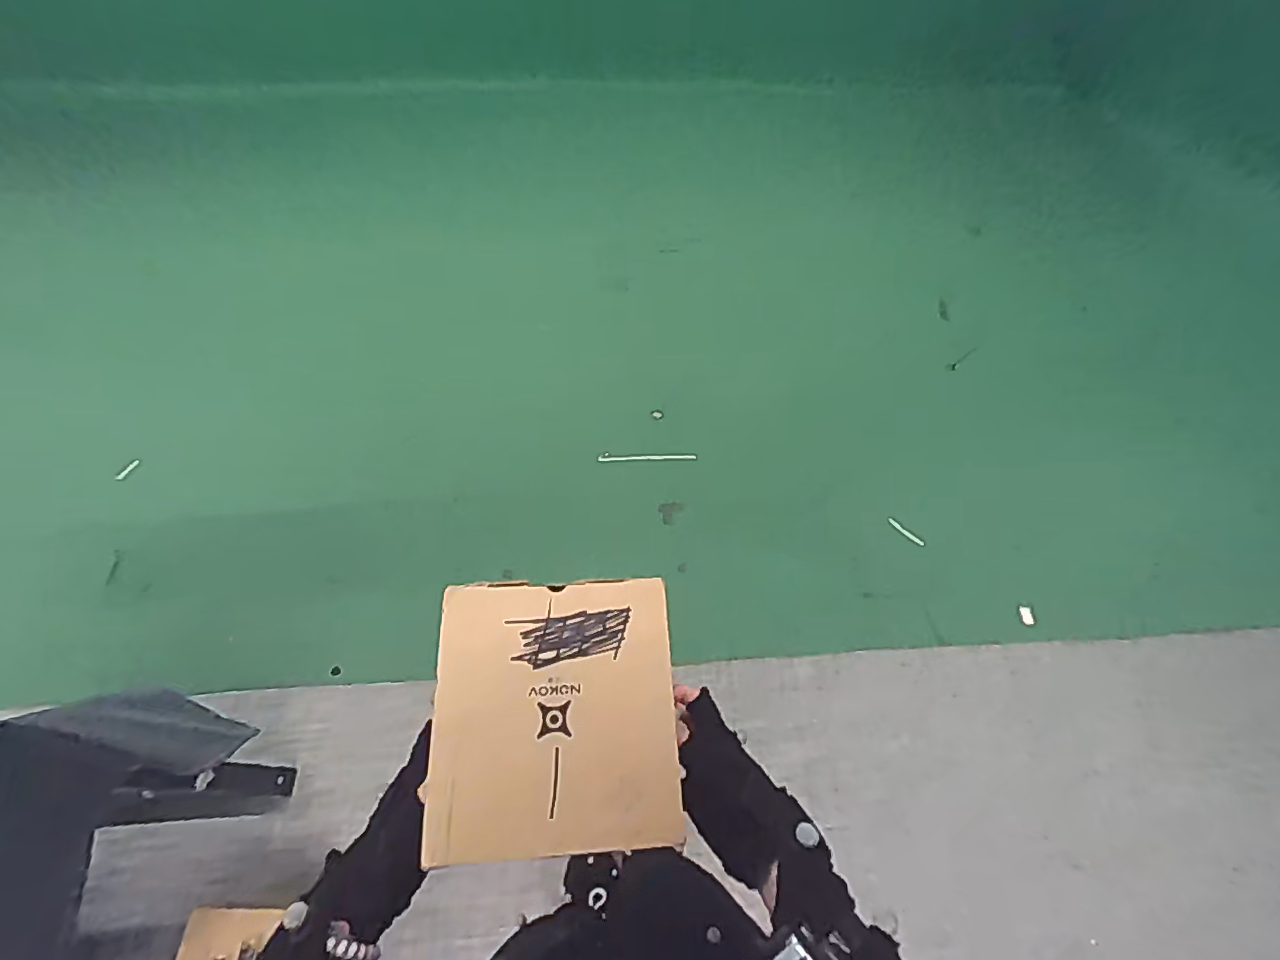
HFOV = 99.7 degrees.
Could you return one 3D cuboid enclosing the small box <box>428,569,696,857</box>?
[{"bbox_3d":[-0.058,0.182,0.437,0.168,0.176,0.179,-1,64,-6],"label":"small box"}]
